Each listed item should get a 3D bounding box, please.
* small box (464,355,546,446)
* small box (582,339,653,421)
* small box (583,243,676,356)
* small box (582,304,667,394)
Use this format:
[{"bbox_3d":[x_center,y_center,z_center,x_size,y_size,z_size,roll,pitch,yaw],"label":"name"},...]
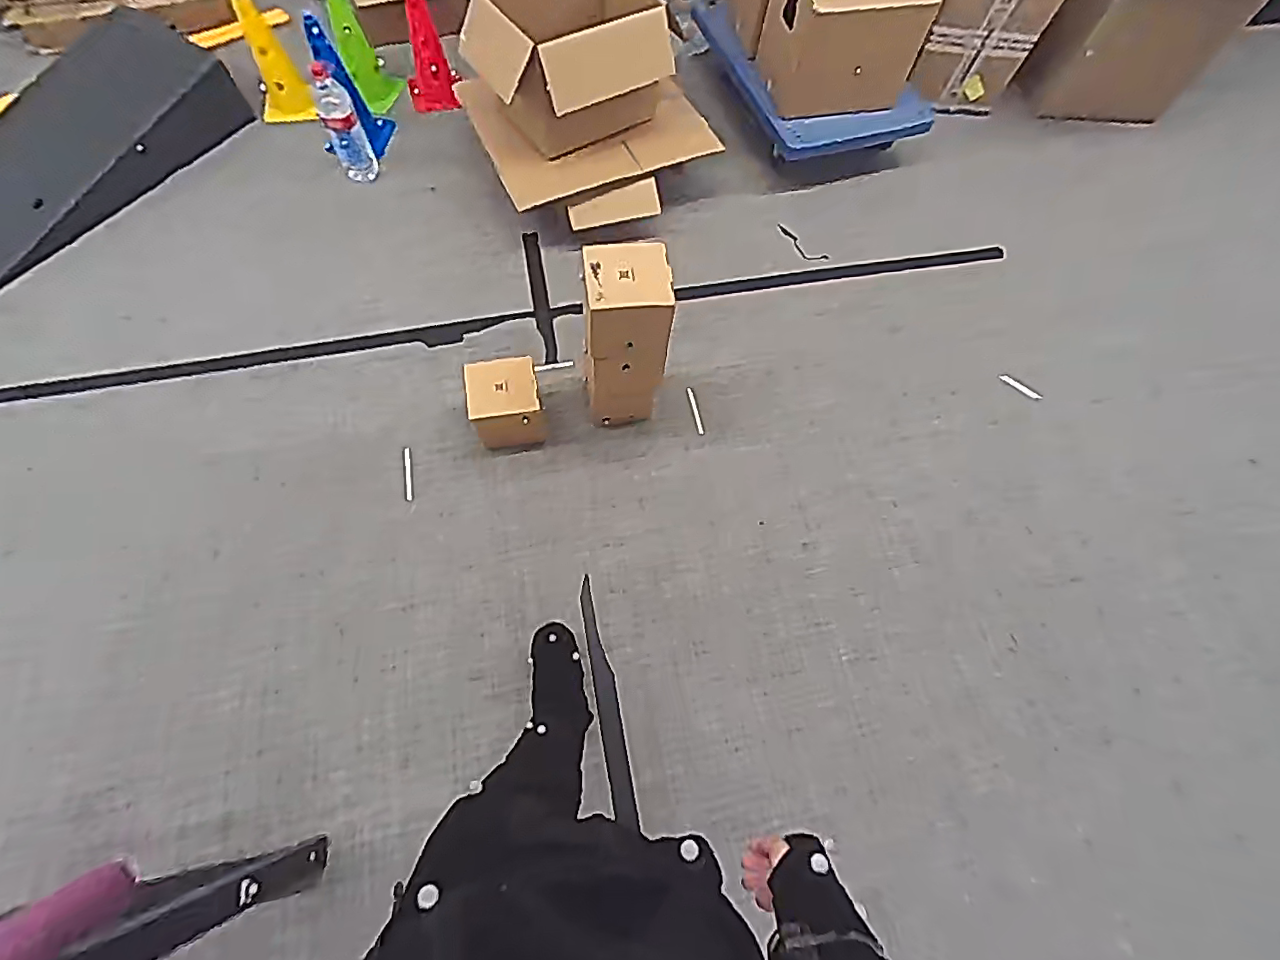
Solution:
[{"bbox_3d":[-0.352,-0.203,1.425,0.179,0.176,0.168,-10,68,-8],"label":"small box"},{"bbox_3d":[-0.062,-0.276,1.475,0.168,0.176,0.179,-10,68,-9],"label":"small box"},{"bbox_3d":[-0.030,-0.383,1.165,0.179,0.176,0.168,-5,68,-7],"label":"small box"},{"bbox_3d":[-0.042,-0.324,1.318,0.179,0.176,0.168,-8,69,-8],"label":"small box"}]
